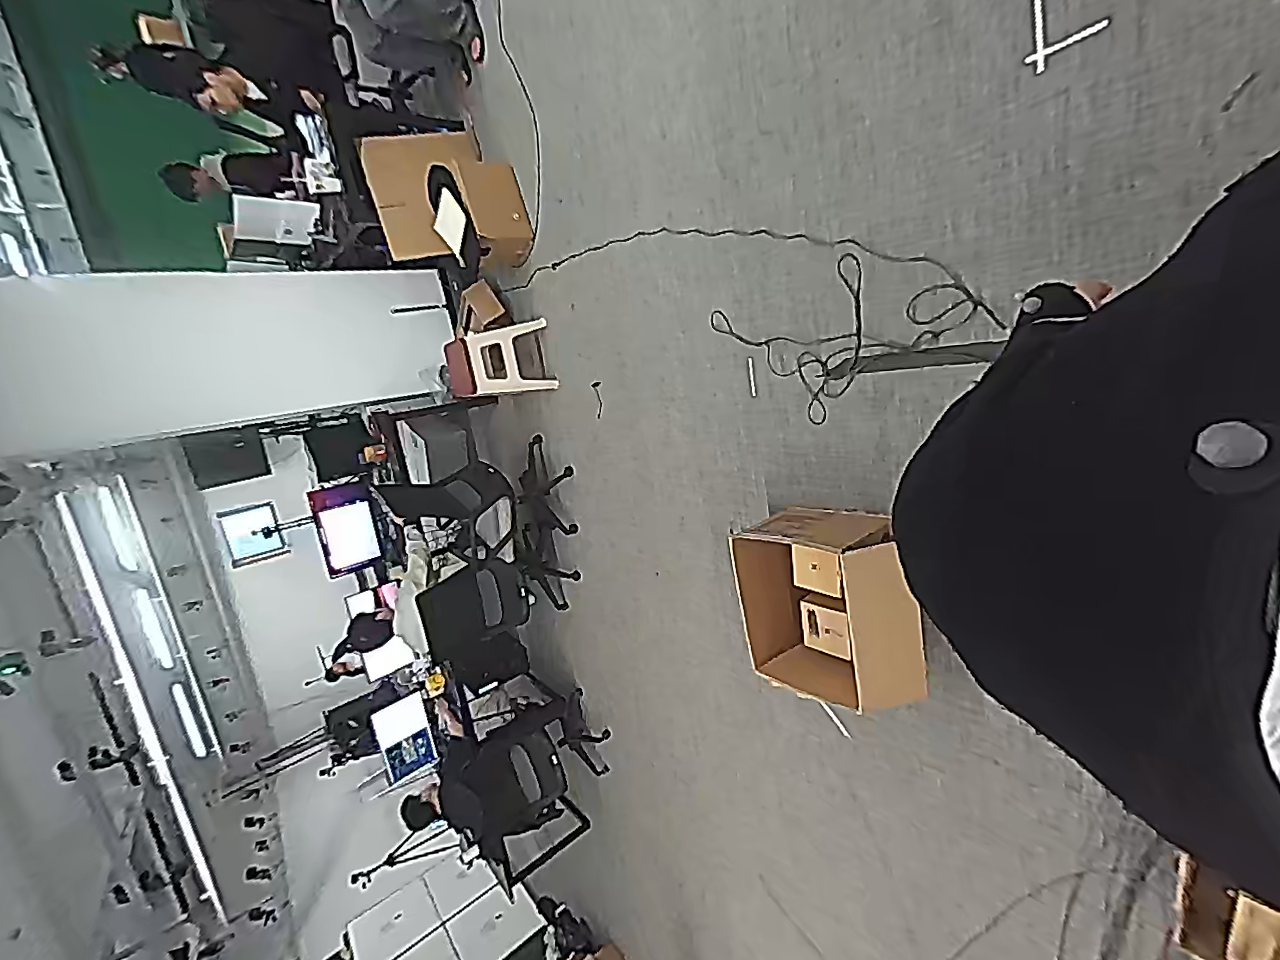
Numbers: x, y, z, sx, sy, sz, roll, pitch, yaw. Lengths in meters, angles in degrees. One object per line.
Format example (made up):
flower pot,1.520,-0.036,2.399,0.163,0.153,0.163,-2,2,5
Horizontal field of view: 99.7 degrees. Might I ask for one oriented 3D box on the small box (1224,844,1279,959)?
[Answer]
small box,1.285,0.872,1.059,0.168,0.176,0.179,11,111,50
